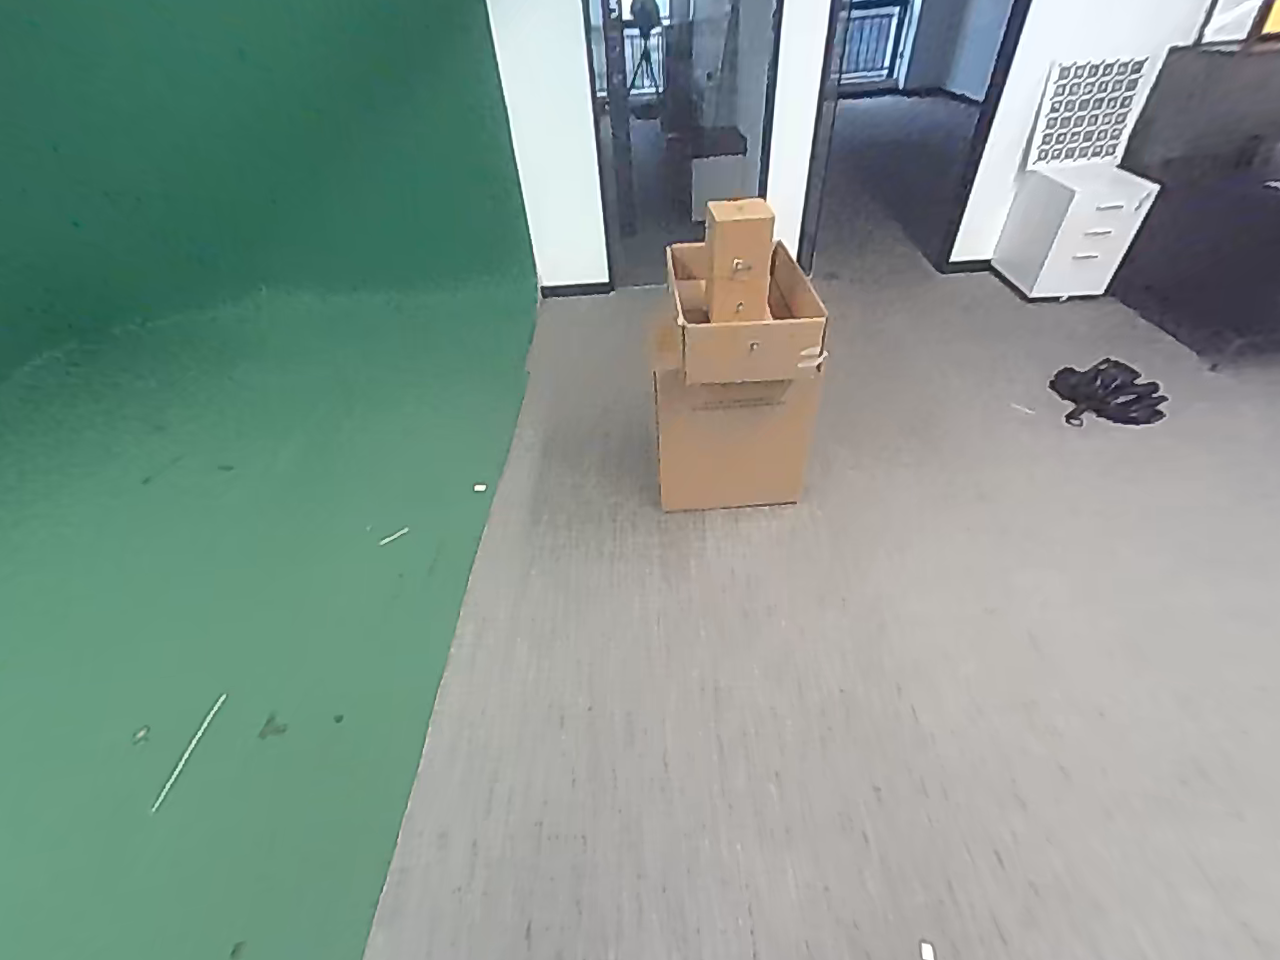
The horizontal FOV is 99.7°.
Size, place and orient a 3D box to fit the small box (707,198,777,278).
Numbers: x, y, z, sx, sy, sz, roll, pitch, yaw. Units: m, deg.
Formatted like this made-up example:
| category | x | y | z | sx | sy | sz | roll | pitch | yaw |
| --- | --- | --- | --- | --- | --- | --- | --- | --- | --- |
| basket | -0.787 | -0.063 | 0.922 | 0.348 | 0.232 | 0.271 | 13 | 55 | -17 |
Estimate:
| category | x | y | z | sx | sy | sz | roll | pitch | yaw |
| --- | --- | --- | --- | --- | --- | --- | --- | --- | --- |
| small box | 0.291 | -0.710 | 1.584 | 0.168 | 0.176 | 0.179 | -5 | 43 | 0 |
